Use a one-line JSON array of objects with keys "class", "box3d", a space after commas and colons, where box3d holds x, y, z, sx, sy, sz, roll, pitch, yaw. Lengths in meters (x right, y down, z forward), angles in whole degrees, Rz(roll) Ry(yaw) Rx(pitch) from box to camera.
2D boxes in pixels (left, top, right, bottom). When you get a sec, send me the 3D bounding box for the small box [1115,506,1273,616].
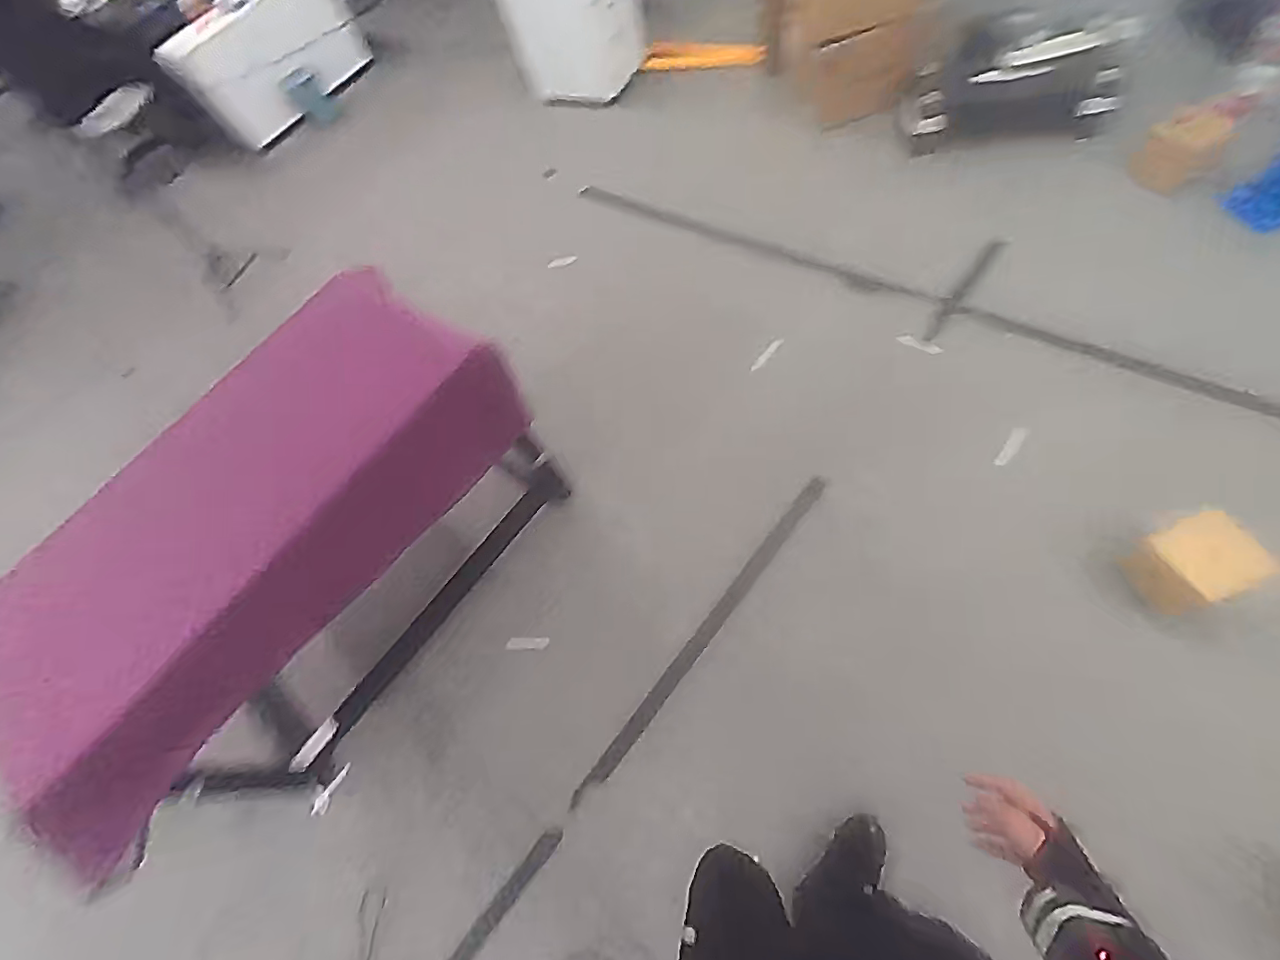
[{"class": "small box", "box3d": [1.280, 0.198, 1.273, 0.179, 0.176, 0.168, -28, 59, -1]}]
